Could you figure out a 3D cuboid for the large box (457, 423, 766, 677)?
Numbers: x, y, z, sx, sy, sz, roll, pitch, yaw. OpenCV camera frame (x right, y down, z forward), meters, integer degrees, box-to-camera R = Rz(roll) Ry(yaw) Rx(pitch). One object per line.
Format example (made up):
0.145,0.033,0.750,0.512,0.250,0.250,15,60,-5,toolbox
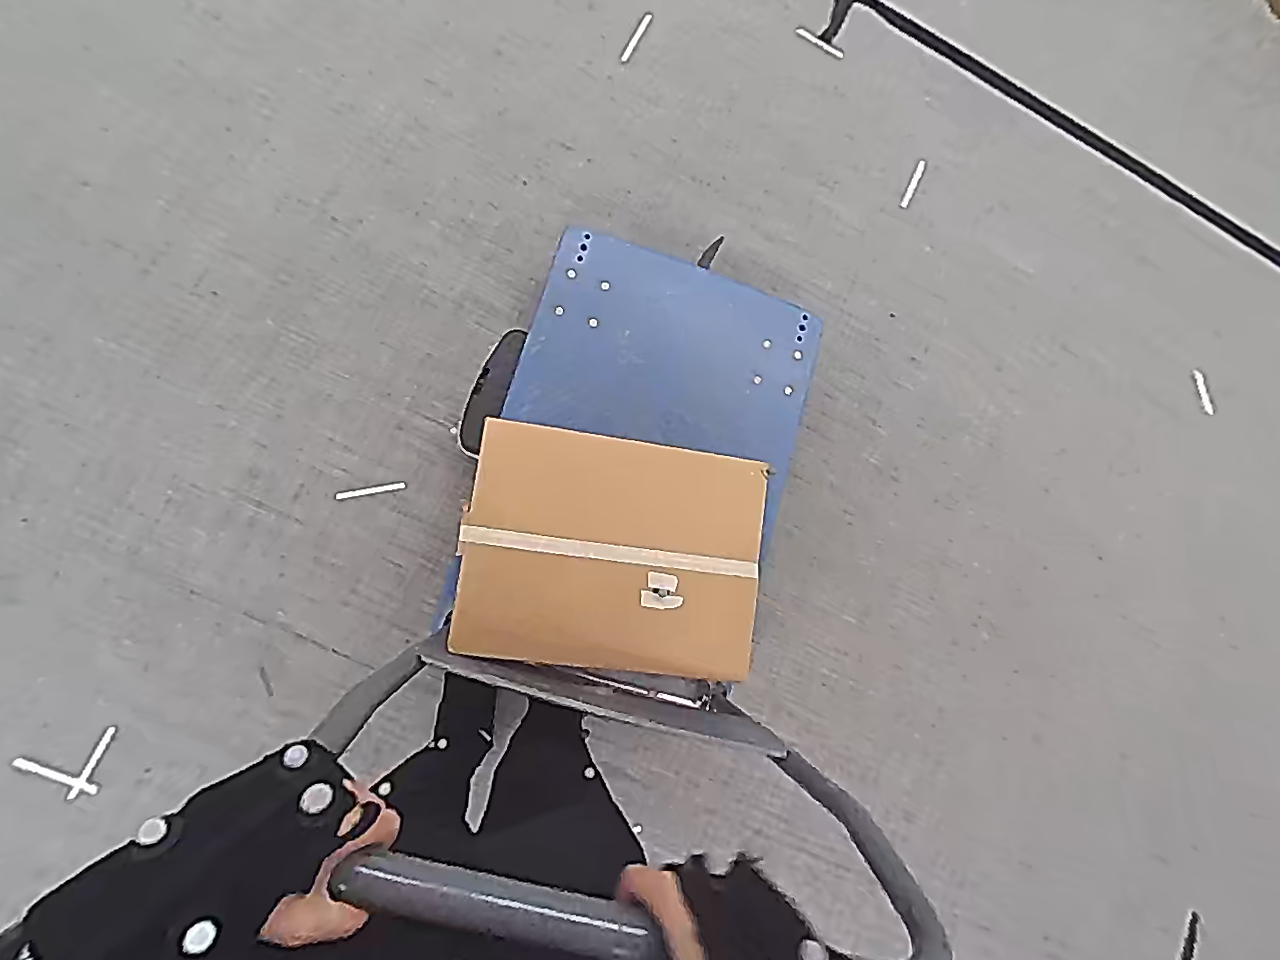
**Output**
-0.053,0.115,0.888,0.408,0.320,0.320,9,83,-9,large box
